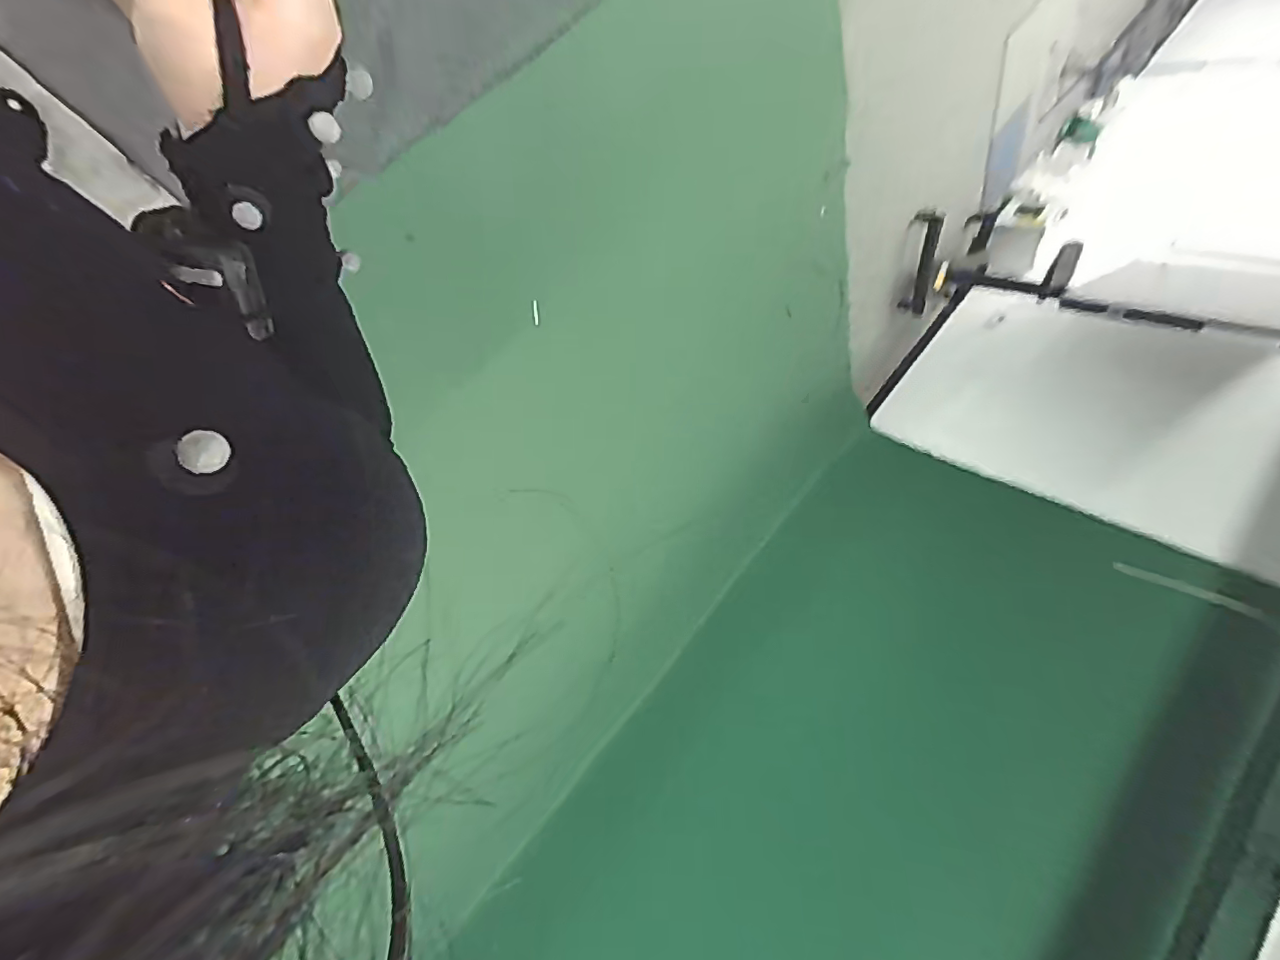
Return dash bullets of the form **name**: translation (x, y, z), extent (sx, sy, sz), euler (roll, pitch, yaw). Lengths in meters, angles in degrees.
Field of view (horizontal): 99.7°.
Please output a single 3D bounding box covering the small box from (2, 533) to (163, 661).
- **small box**: translation (-1.180, 0.244, 1.147), extent (0.179, 0.176, 0.168), euler (-48, 141, -14)
